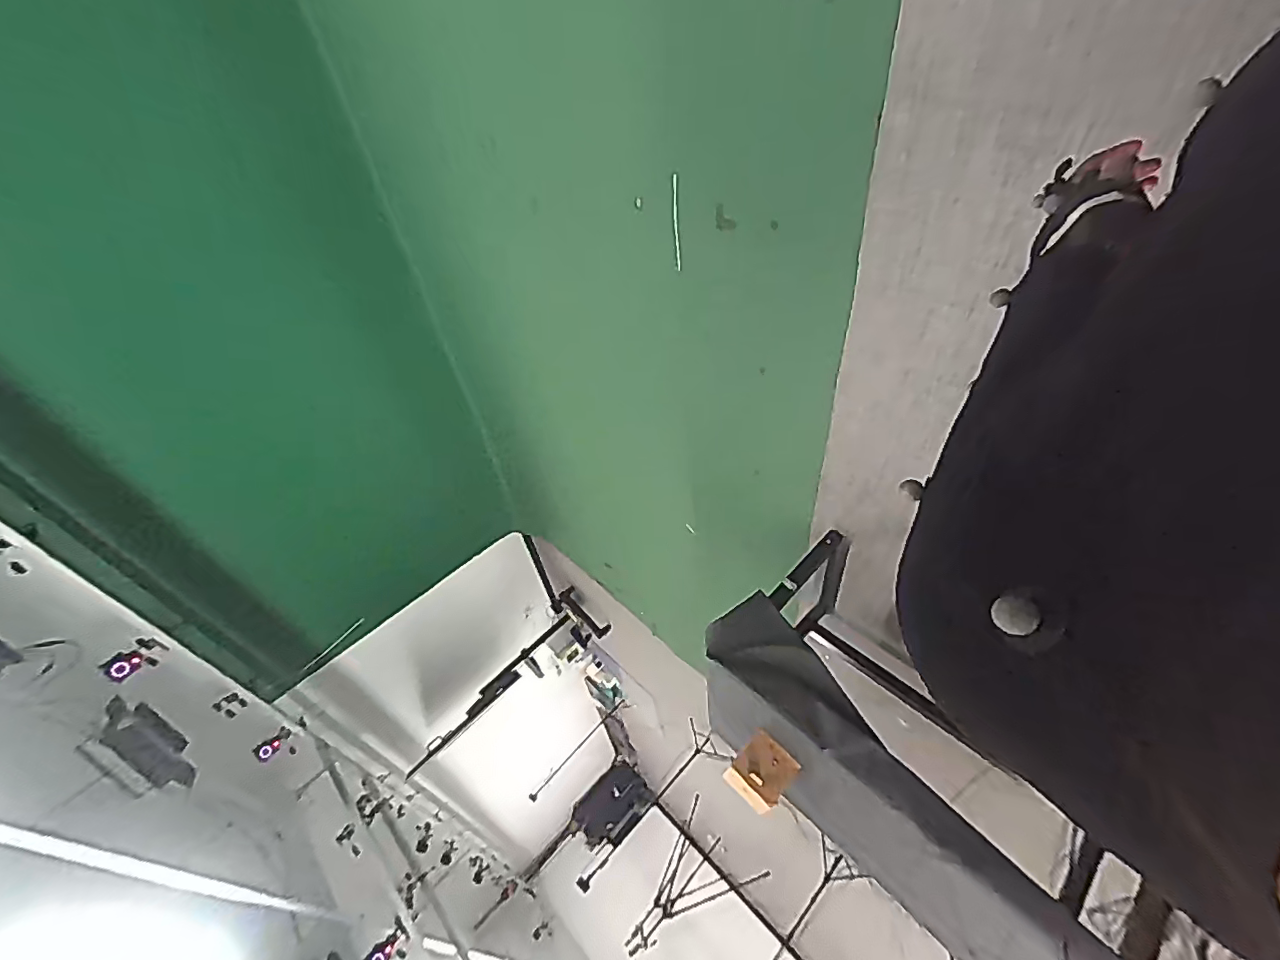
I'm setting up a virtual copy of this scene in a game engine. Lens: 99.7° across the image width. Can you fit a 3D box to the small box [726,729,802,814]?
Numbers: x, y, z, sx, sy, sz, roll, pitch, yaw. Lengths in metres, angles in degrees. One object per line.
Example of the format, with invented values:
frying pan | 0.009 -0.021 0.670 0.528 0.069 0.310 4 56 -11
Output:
small box | 0.408 0.960 1.784 0.168 0.176 0.179 40 151 25
